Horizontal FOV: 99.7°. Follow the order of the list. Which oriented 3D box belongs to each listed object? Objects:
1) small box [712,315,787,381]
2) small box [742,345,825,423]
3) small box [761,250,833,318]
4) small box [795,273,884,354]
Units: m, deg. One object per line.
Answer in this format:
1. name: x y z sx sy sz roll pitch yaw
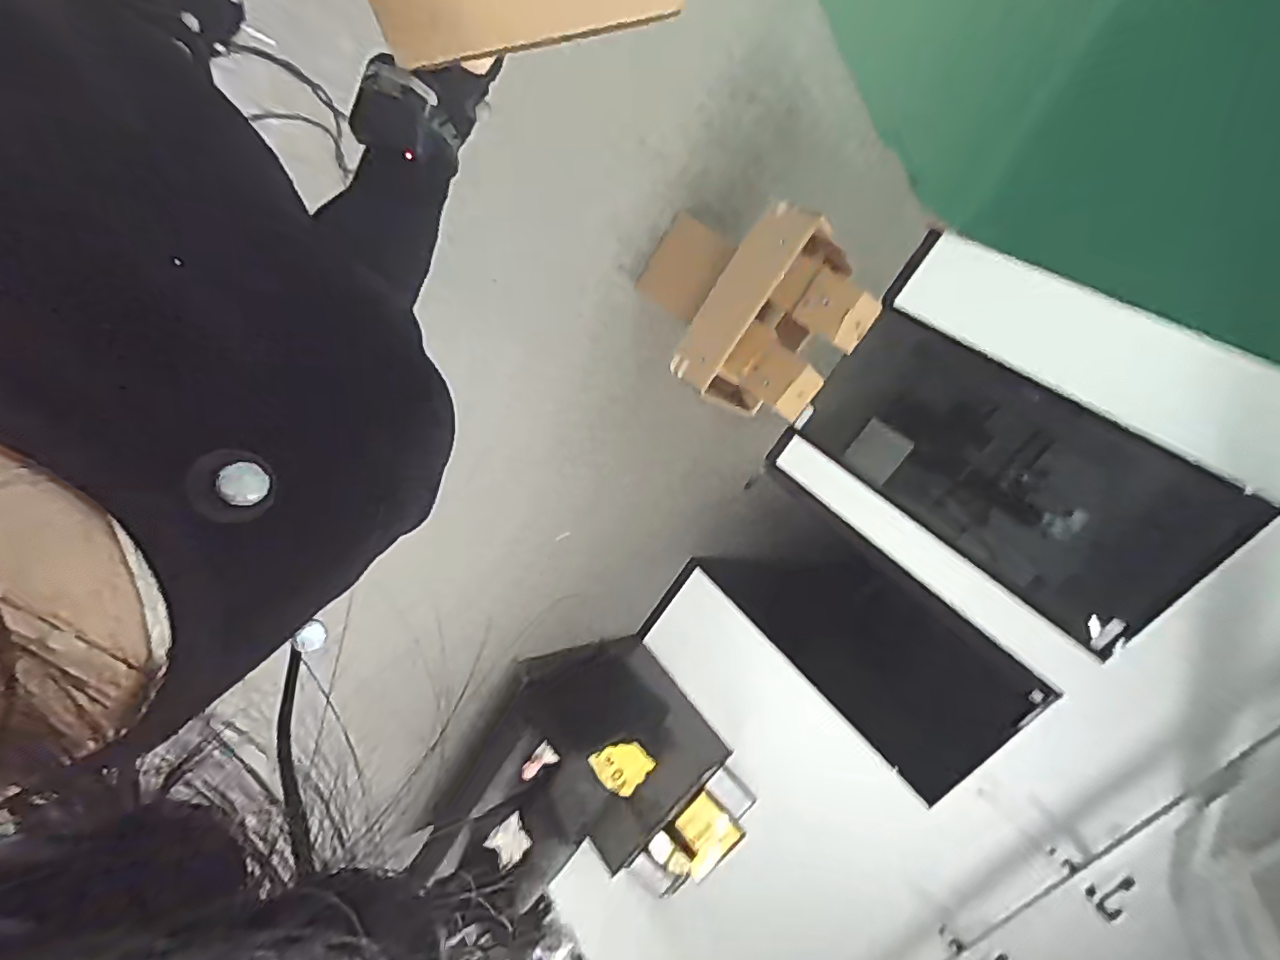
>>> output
1. small box: 0.377 -0.431 1.839 0.168 0.176 0.179 -50 148 10
2. small box: 0.465 -0.316 1.761 0.168 0.176 0.179 -52 148 14
3. small box: 0.536 -0.629 1.782 0.179 0.176 0.168 4 124 -50
4. small box: 0.619 -0.522 1.688 0.179 0.176 0.168 5 125 -50
